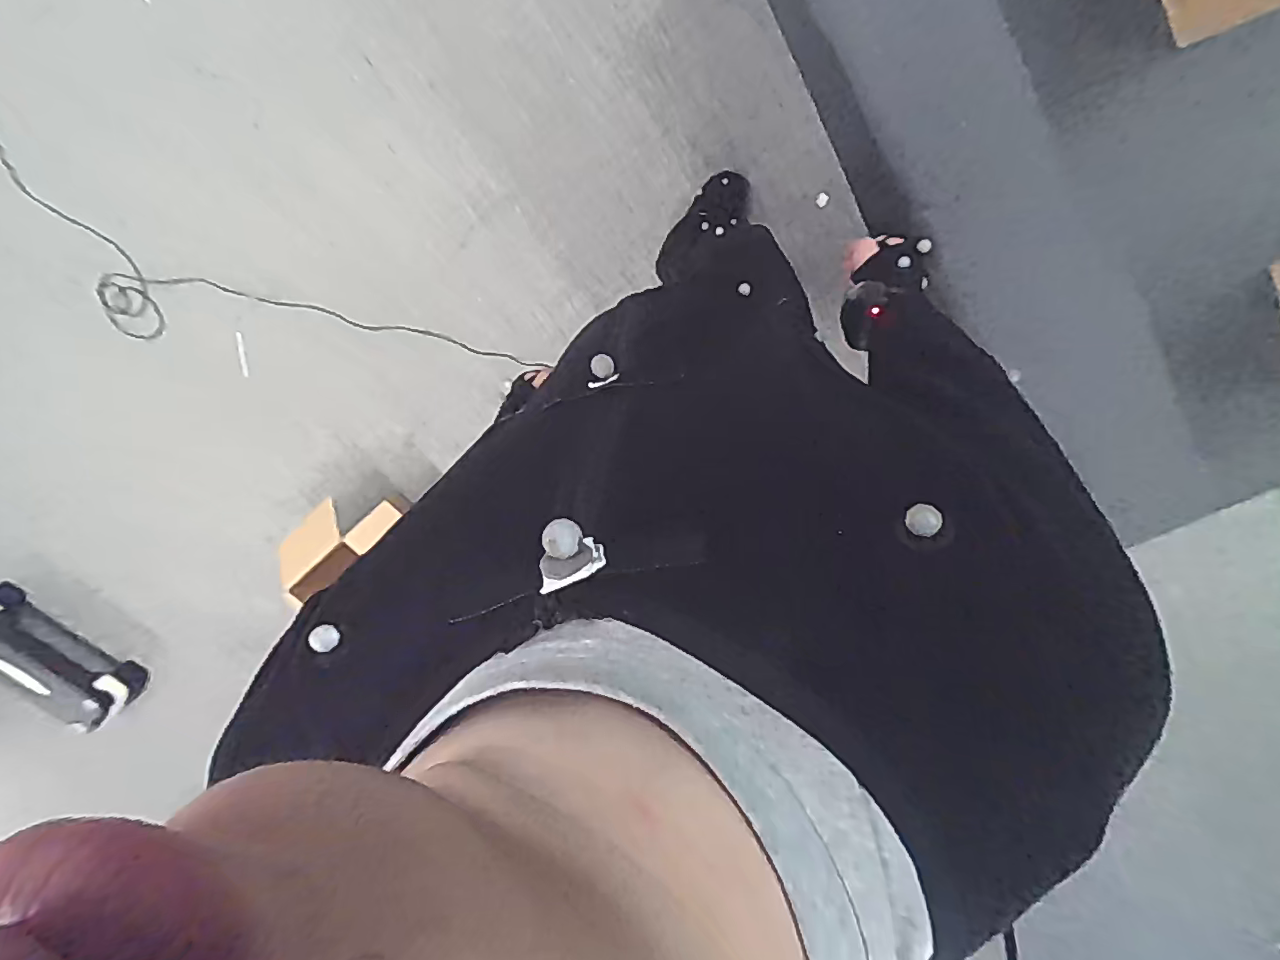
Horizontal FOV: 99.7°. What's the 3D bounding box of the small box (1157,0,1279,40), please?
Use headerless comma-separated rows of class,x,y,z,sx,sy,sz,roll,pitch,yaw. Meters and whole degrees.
small box,0.545,-0.504,0.419,0.179,0.176,0.168,-32,106,23
